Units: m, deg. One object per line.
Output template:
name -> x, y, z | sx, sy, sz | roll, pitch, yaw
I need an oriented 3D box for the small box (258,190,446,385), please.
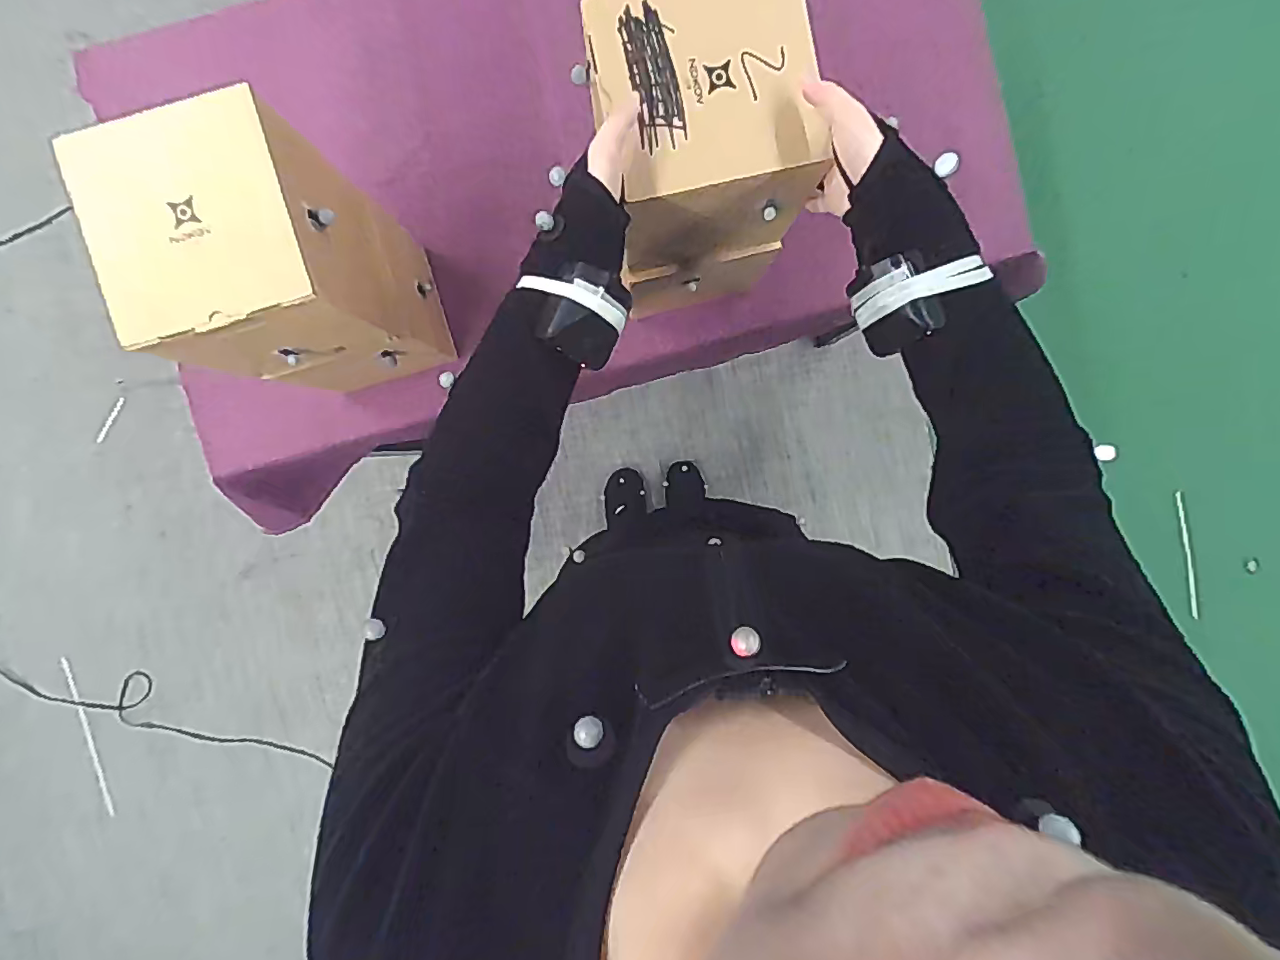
small box -> -0.363, -0.226, 0.680 | 0.179, 0.176, 0.168 | -15, 93, 1

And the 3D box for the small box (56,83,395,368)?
small box -> -0.367, -0.220, 0.516 | 0.168, 0.176, 0.179 | -15, 94, 1

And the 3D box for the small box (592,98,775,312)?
small box -> 0.050, -0.323, 0.674 | 0.179, 0.176, 0.168 | -13, 94, 1
